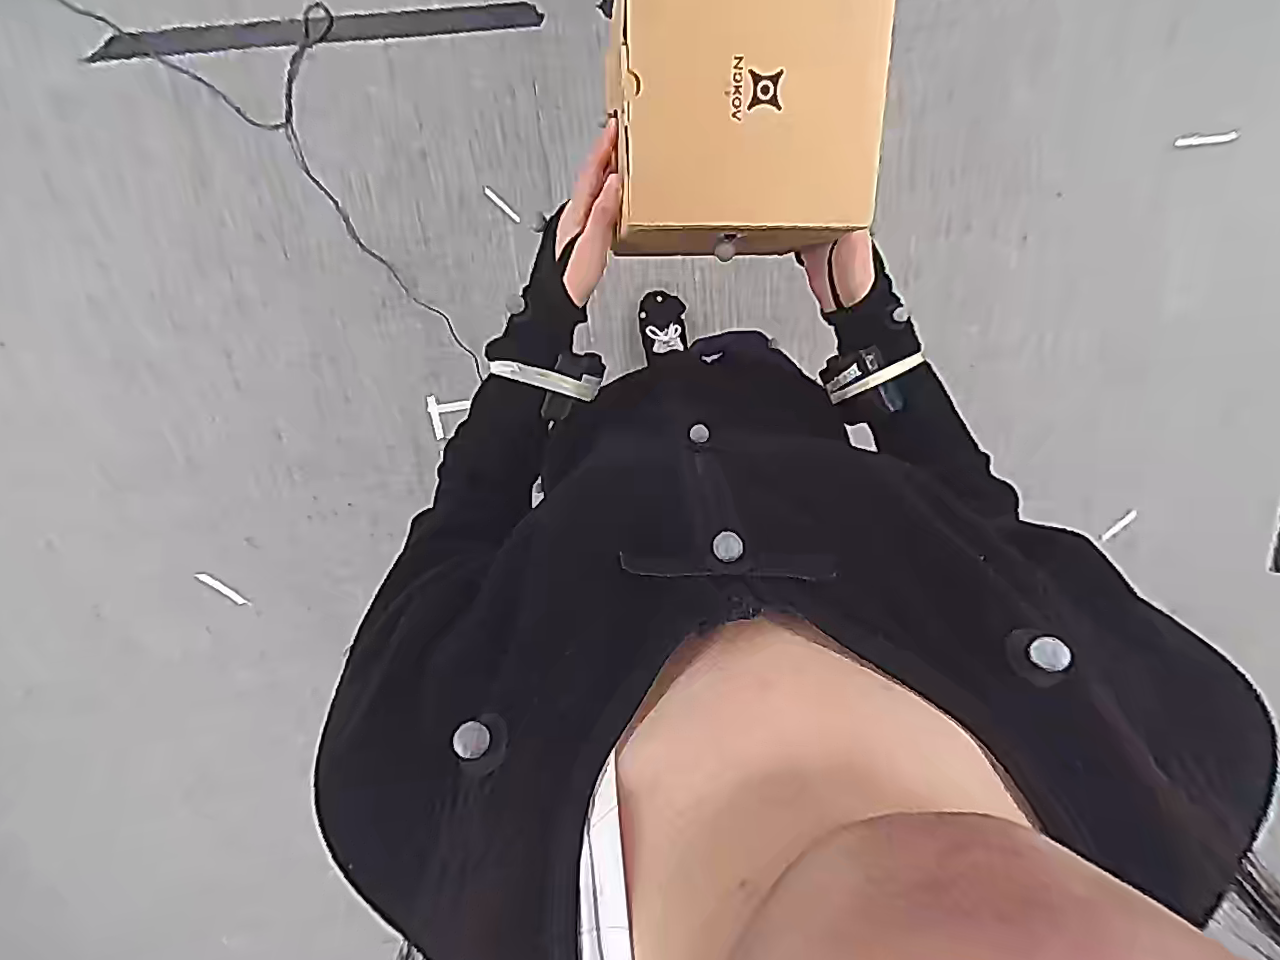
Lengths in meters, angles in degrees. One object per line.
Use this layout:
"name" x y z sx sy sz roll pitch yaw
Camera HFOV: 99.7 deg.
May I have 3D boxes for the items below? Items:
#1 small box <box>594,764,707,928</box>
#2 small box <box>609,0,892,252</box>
"small box" 0.017 0.619 0.931 0.179 0.176 0.168 -3 104 -2
"small box" 0.068 -0.280 0.429 0.179 0.176 0.168 -2 107 -4
